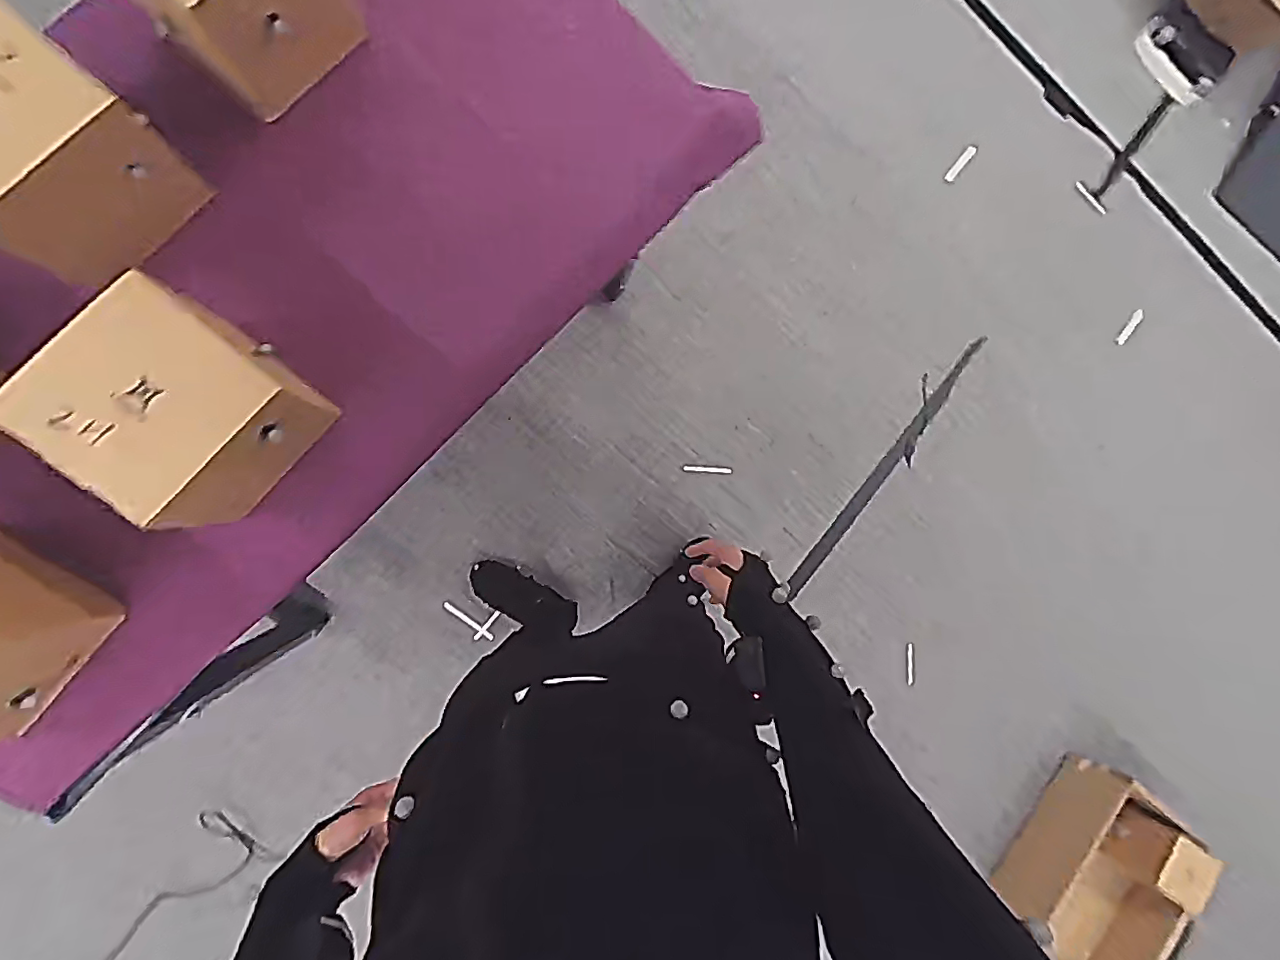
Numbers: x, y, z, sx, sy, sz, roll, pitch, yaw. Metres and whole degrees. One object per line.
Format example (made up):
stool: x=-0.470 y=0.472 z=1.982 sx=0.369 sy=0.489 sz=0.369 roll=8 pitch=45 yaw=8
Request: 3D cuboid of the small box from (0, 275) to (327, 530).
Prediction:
small box: x=-0.466 y=-0.070 z=0.566 sx=0.168 sy=0.176 sz=0.179 roll=40 pitch=83 yaw=-7

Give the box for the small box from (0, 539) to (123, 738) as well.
small box: x=-0.685 y=0.162 z=0.519 sx=0.179 sy=0.176 sz=0.168 roll=37 pitch=81 yaw=-8
